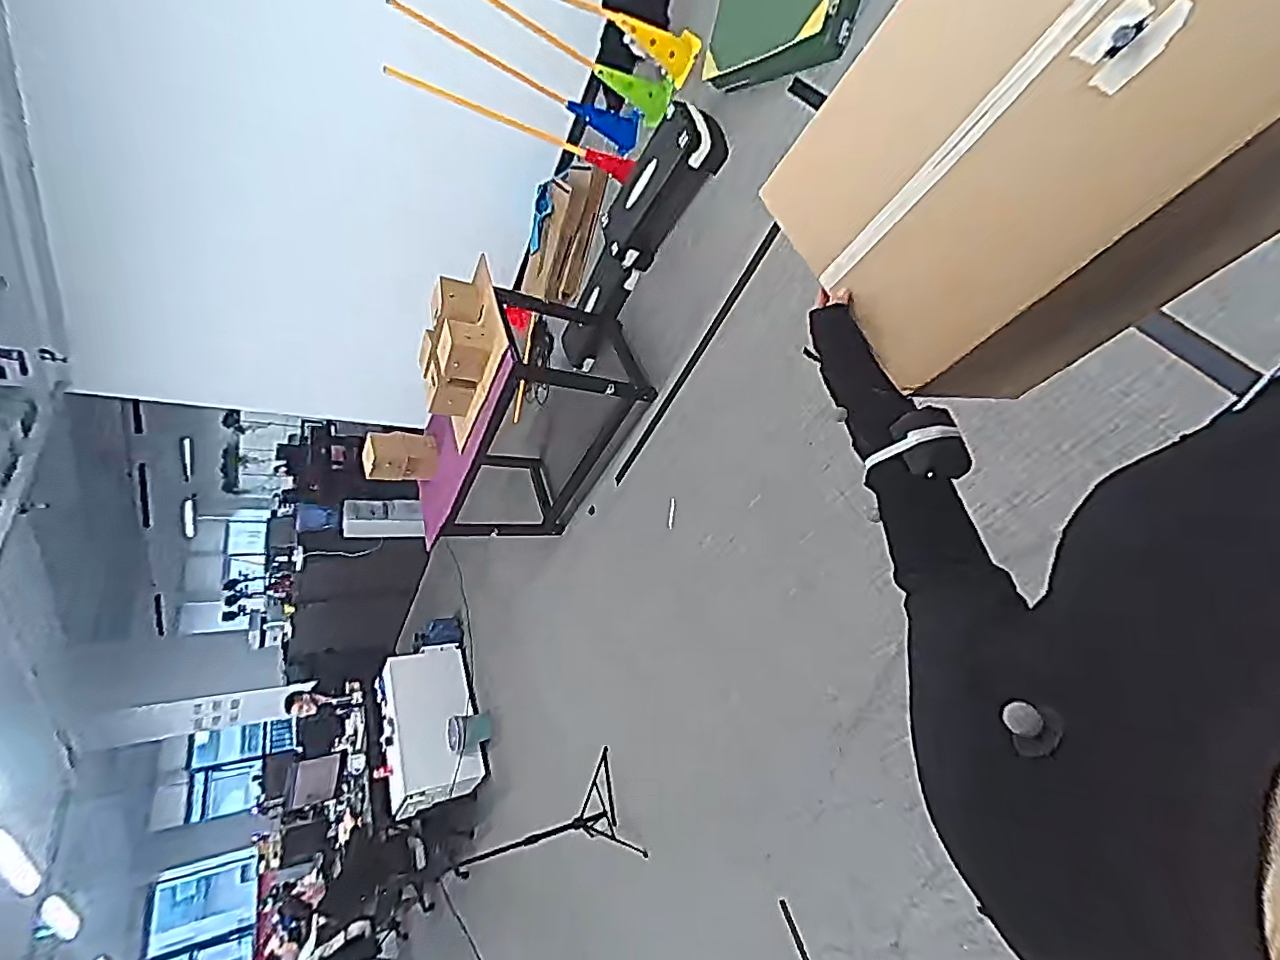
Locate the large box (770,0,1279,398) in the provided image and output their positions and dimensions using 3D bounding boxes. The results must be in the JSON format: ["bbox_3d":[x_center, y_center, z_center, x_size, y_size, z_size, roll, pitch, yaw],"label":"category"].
[{"bbox_3d":[0.424,-0.329,0.556,0.408,0.320,0.320,-46,61,42],"label":"large box"}]
